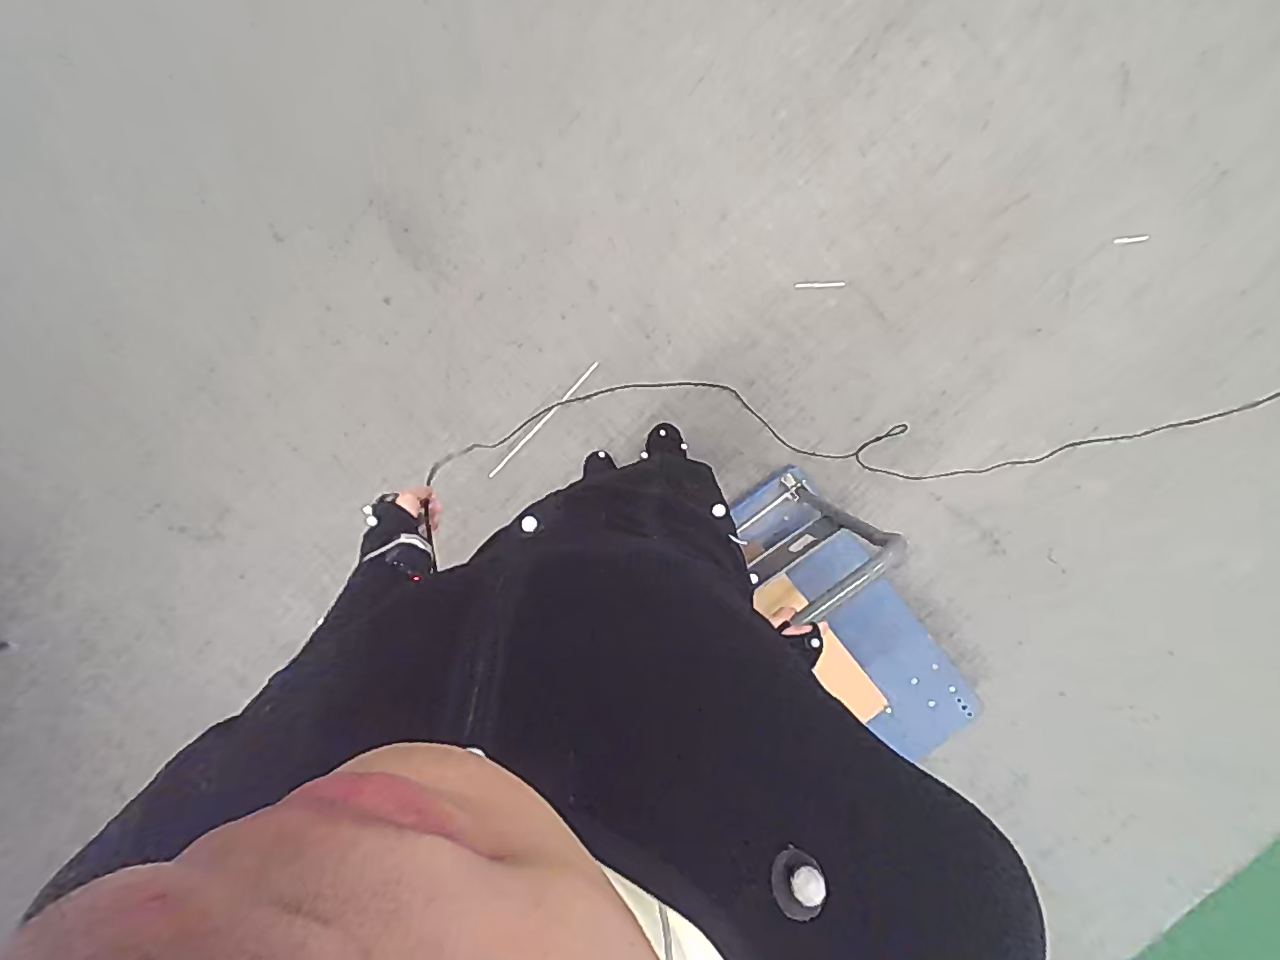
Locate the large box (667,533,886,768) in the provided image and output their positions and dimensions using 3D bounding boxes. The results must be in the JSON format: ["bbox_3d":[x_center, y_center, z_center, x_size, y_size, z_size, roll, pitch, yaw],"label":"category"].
[{"bbox_3d":[0.312,0.398,1.354,0.320,0.320,0.408,-39,93,5],"label":"large box"}]
